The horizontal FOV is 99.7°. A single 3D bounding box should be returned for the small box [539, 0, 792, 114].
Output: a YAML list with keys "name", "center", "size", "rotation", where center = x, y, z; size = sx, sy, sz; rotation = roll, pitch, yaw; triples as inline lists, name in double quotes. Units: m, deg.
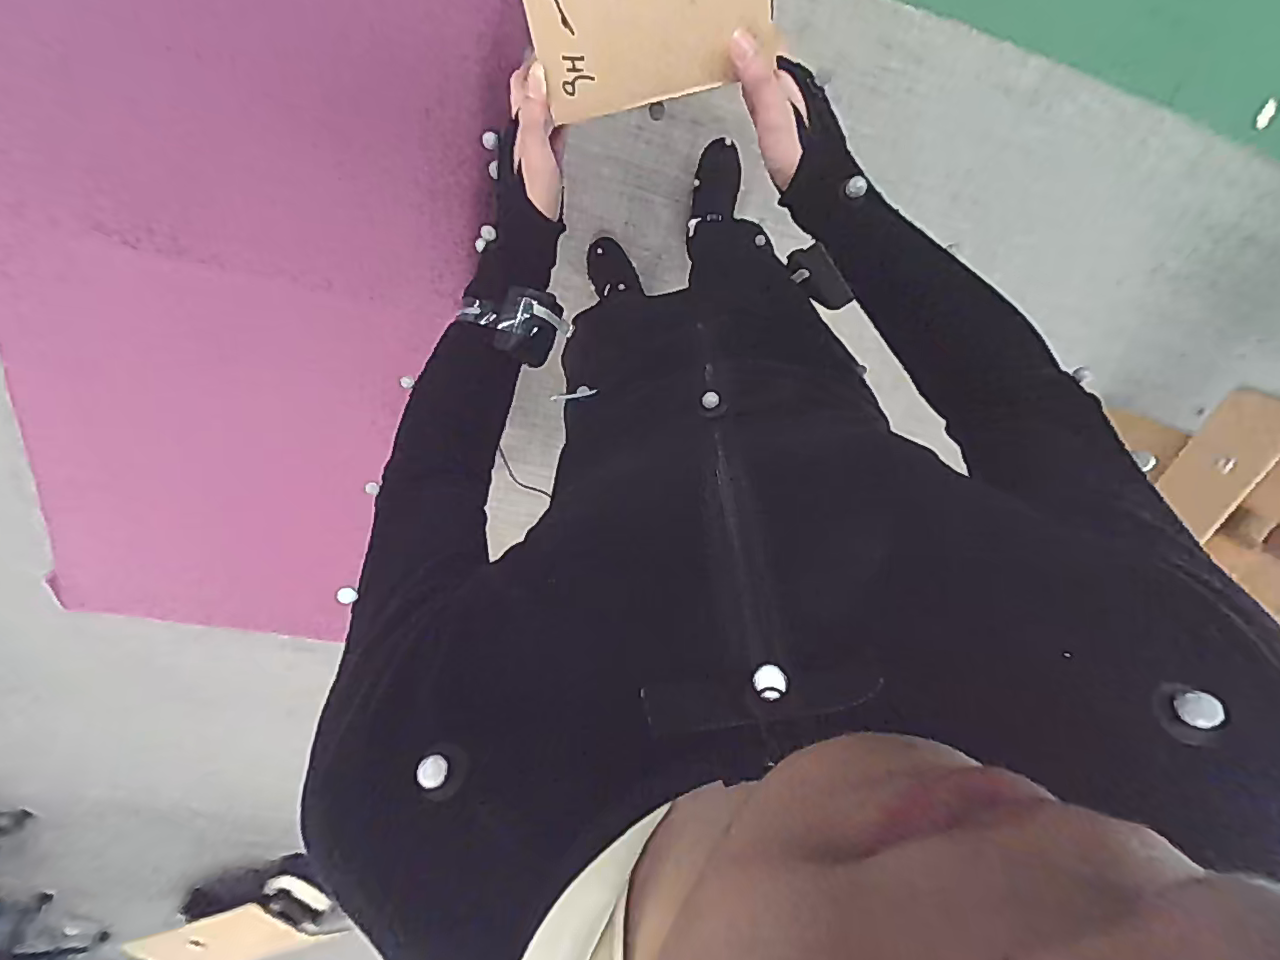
- name: "small box"
  center: [0.010, -0.400, 0.419]
  size: [0.179, 0.176, 0.168]
  rotation: [-9, 126, 4]

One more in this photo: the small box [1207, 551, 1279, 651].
- name: "small box"
  center: [1.531, 0.293, 1.277]
  size: [0.168, 0.176, 0.179]
  rotation: [15, 116, -11]
